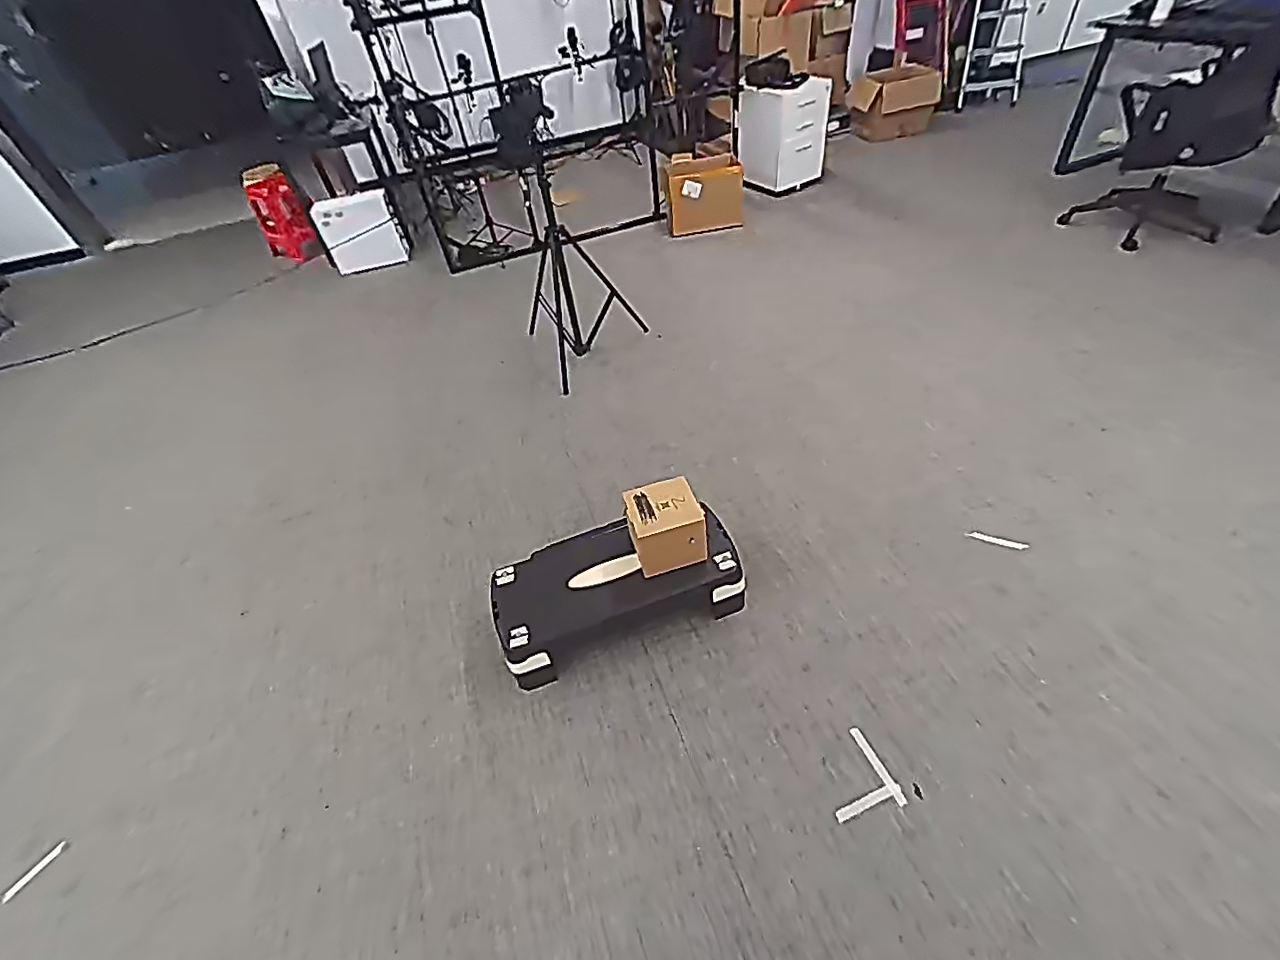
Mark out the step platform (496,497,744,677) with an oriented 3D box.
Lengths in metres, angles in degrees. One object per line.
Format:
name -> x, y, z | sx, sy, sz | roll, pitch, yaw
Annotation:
step platform -> -0.056, 0.289, 1.533 | 0.684, 0.204, 0.286 | -19, 45, -9
